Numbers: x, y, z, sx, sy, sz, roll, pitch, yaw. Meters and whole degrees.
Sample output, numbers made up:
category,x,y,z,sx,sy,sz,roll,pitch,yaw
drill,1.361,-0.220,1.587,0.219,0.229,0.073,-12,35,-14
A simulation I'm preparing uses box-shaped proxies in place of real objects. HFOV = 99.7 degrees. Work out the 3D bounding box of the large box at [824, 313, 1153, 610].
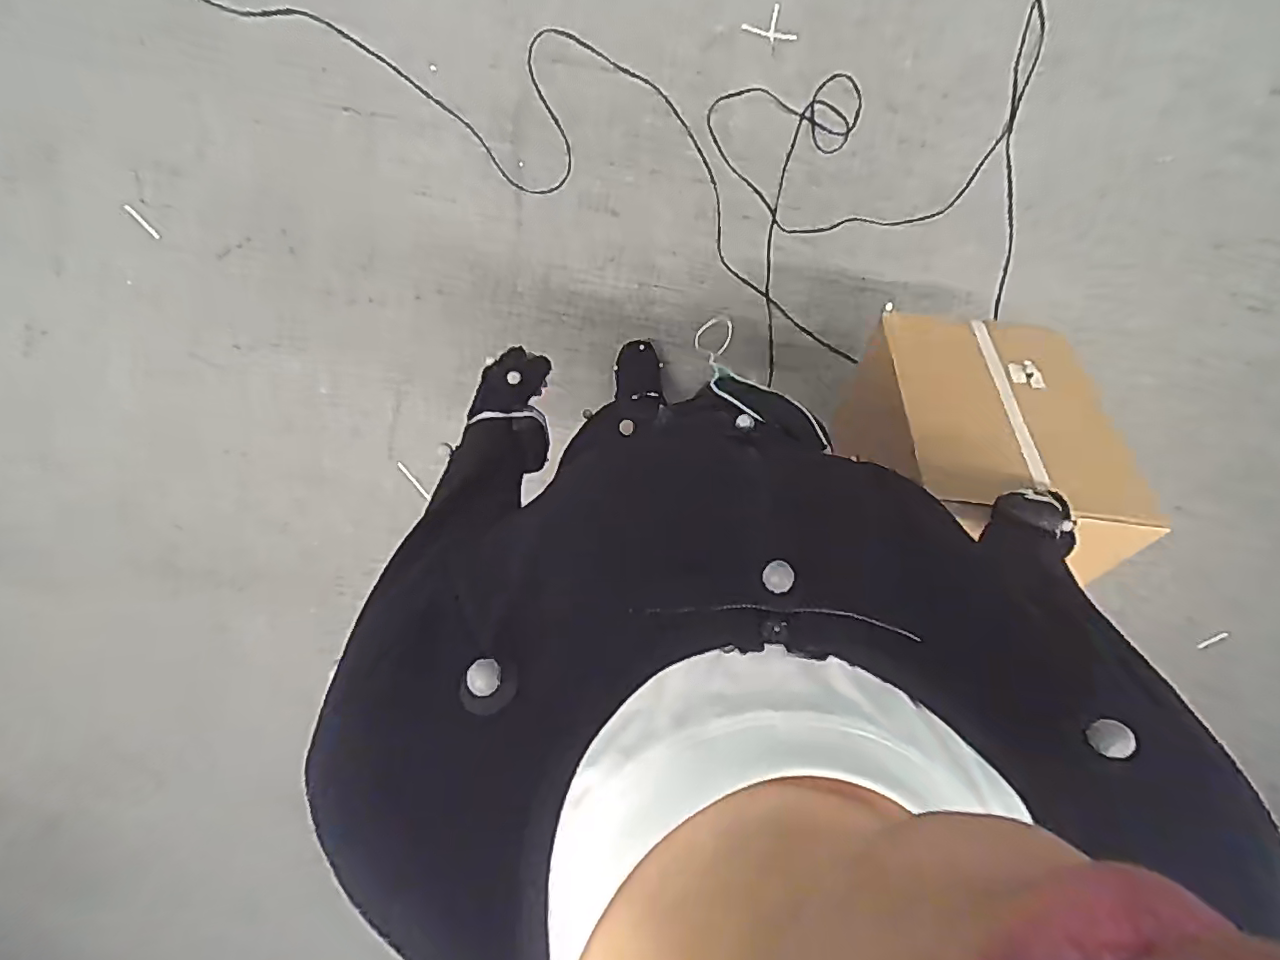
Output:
category,x,y,z,sx,sy,sz,roll,pitch,yaw
large box,0.533,-0.029,0.942,0.320,0.408,0.320,7,144,1
